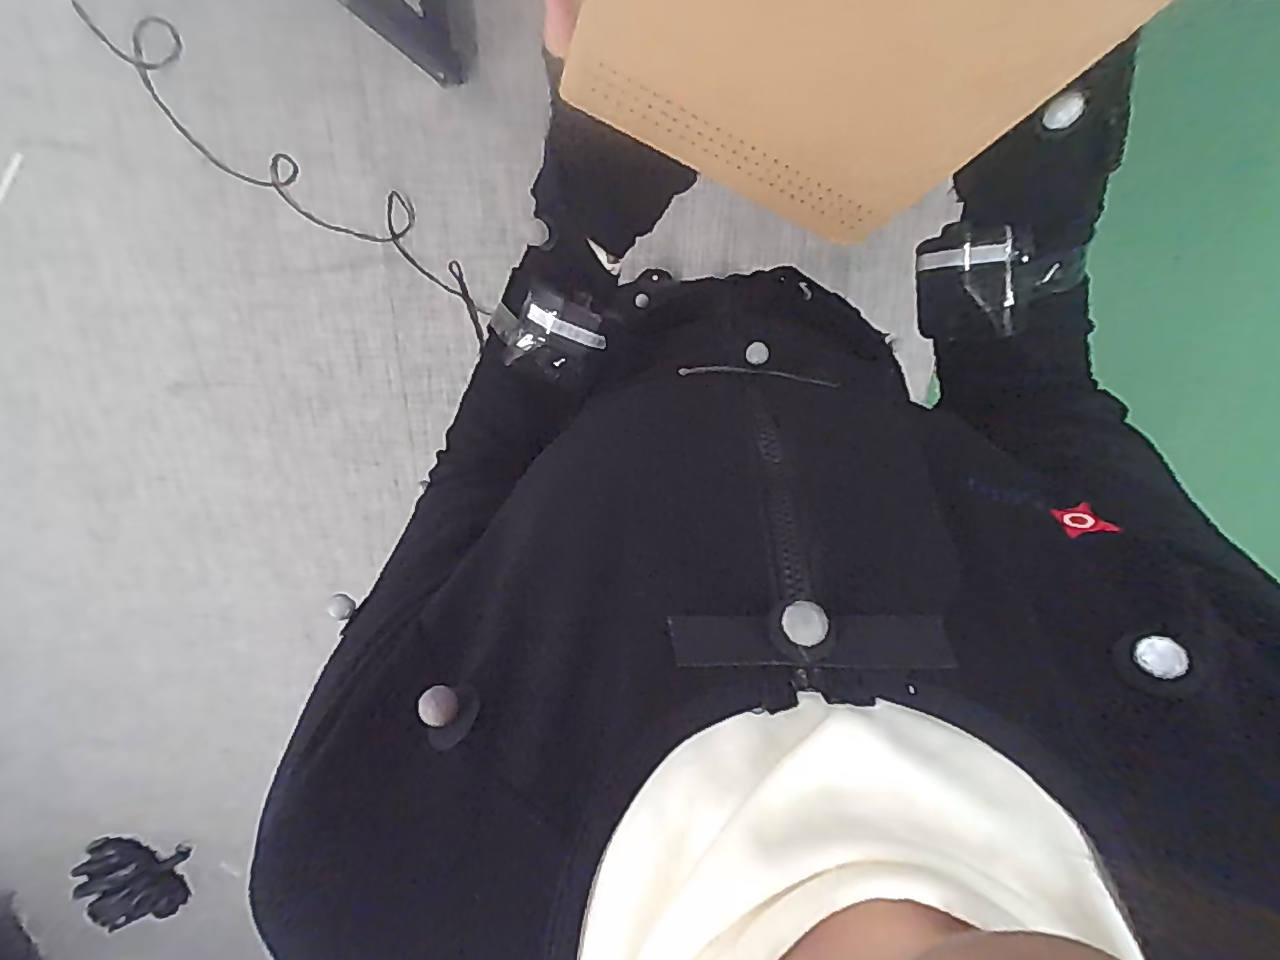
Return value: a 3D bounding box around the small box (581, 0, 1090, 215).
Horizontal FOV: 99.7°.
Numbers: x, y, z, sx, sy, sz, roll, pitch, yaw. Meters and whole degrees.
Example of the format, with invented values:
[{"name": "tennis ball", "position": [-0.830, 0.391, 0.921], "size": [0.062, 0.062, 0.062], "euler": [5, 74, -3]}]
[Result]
[{"name": "small box", "position": [0.087, -0.255, 0.232], "size": [0.179, 0.176, 0.168], "euler": [16, 74, -19]}]
